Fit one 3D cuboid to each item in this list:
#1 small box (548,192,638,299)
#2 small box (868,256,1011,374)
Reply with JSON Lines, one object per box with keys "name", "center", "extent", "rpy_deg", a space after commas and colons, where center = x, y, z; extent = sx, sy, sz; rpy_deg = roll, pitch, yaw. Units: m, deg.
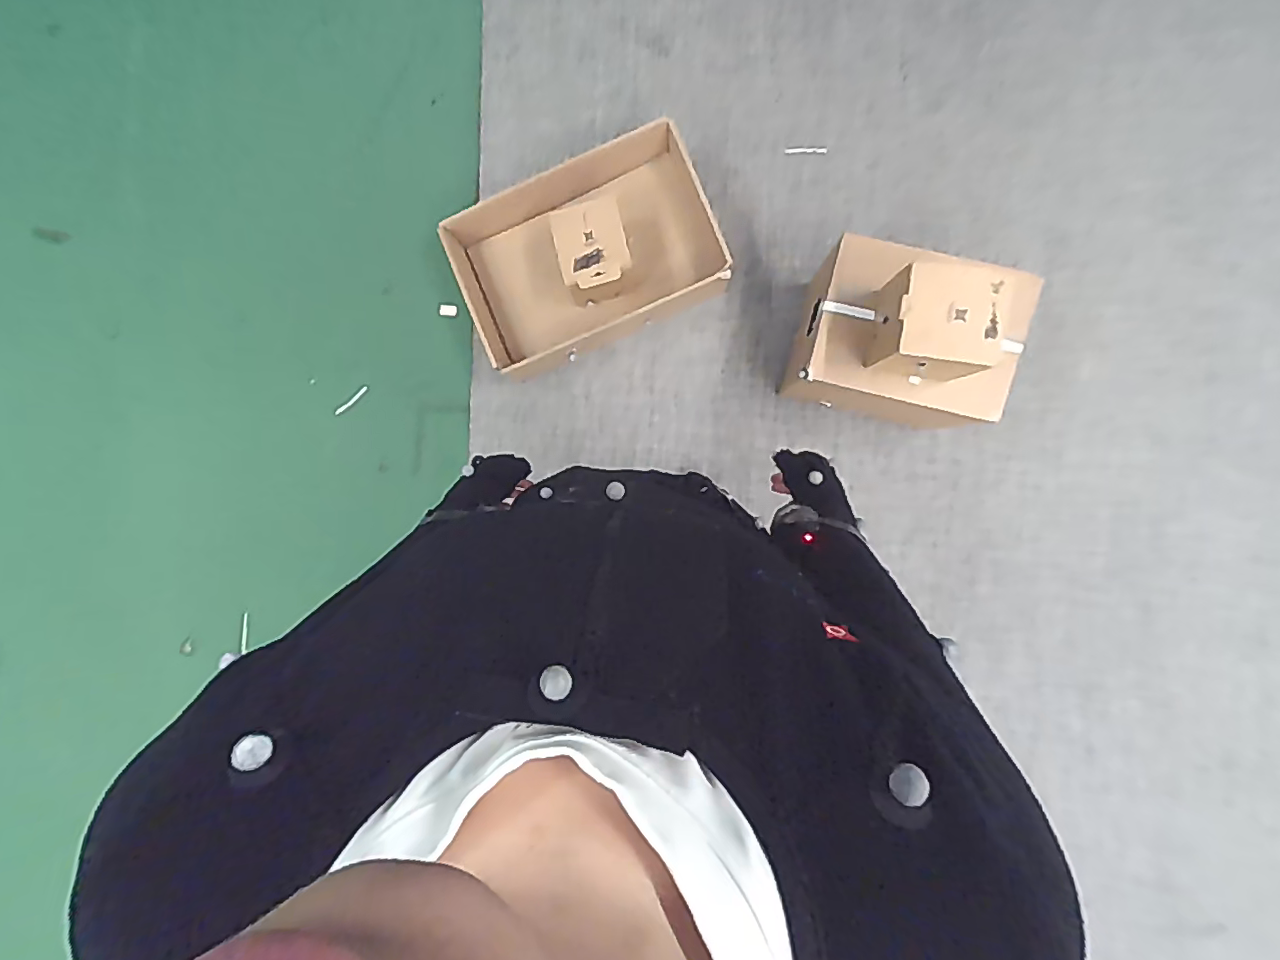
{"name": "small box", "center": [-0.108, -0.564, 1.330], "extent": [0.168, 0.176, 0.179], "rpy_deg": [-14, 89, 6]}
{"name": "small box", "center": [0.551, -0.302, 1.022], "extent": [0.179, 0.176, 0.168], "rpy_deg": [9, 93, 5]}
